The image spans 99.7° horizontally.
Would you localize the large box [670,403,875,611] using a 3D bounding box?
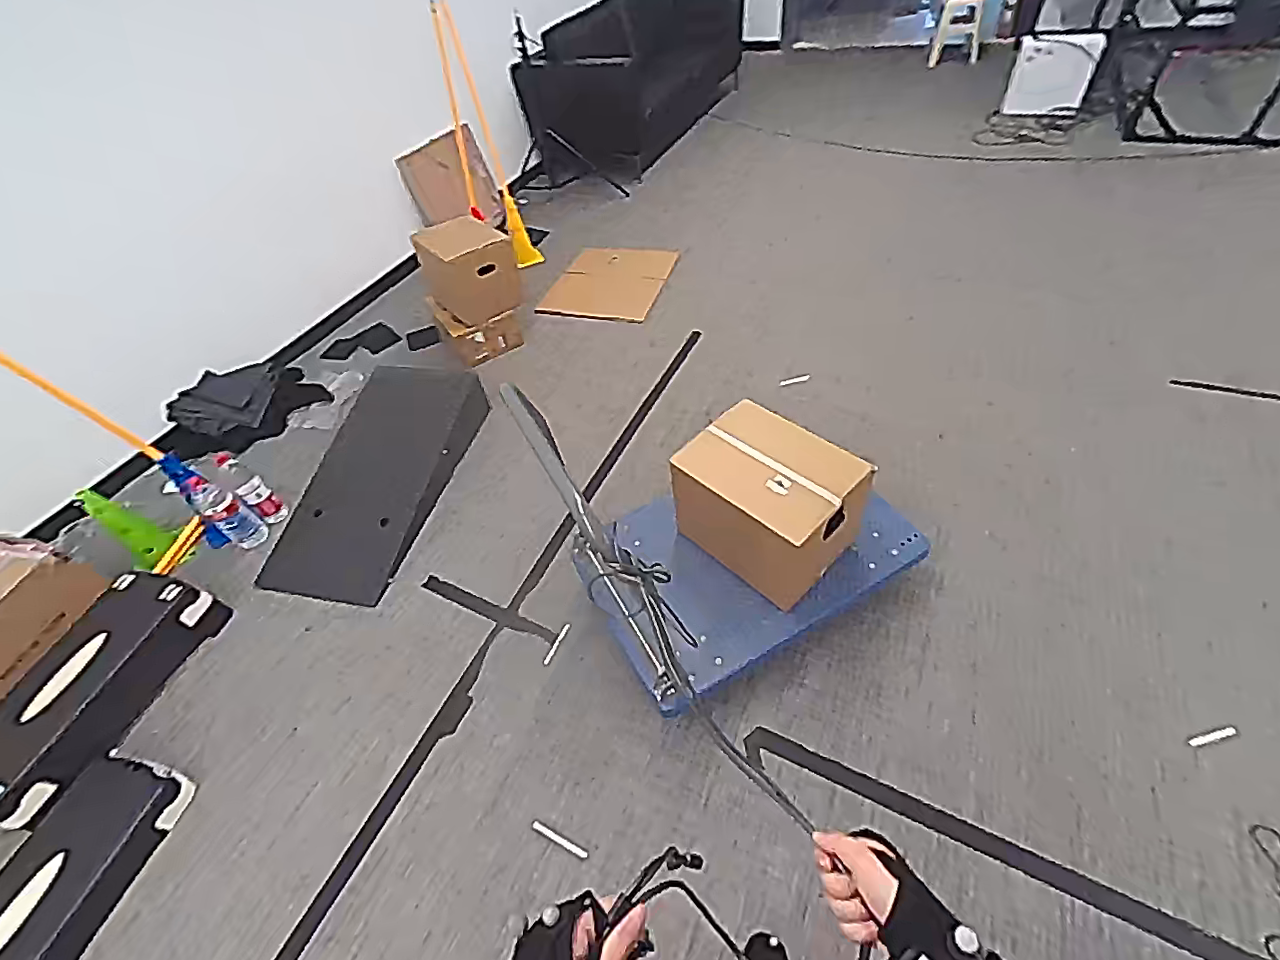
[{"bbox_3d":[0.333,0.064,1.445,0.320,0.320,0.408,-39,56,-22],"label":"large box"}]
